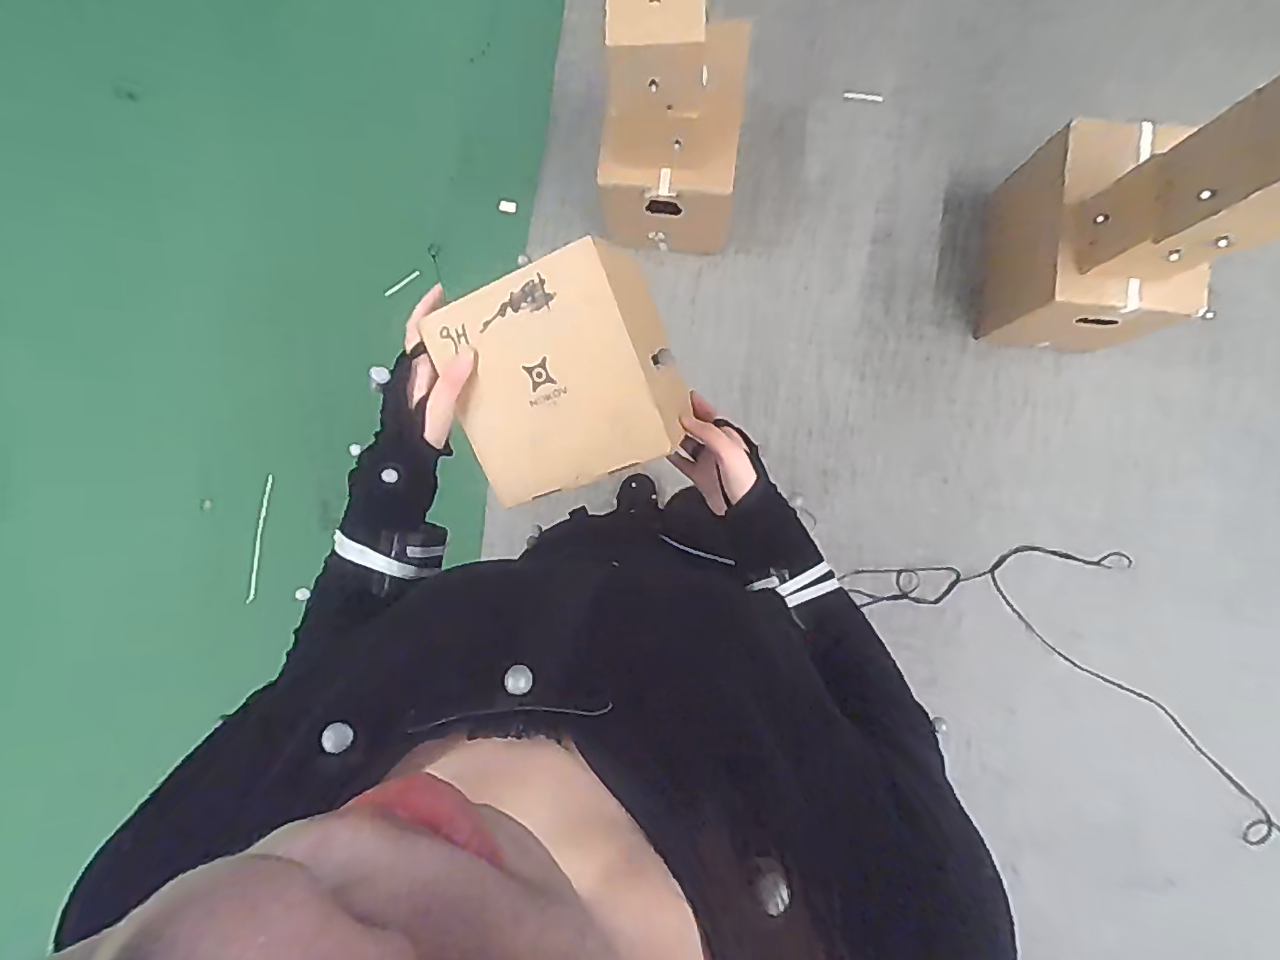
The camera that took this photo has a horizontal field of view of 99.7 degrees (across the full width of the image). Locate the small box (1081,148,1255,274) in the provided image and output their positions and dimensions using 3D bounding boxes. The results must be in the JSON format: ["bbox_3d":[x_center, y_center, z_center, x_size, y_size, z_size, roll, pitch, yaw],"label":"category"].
[{"bbox_3d":[1.031,-0.520,1.068,0.179,0.176,0.168,5,90,4],"label":"small box"}]

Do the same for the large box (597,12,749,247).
[{"bbox_3d":[0.084,-0.857,1.366,0.320,0.320,0.408,7,89,3],"label":"large box"}]

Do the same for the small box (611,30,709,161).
[{"bbox_3d":[0.044,-0.793,1.122,0.179,0.176,0.168,6,89,5],"label":"small box"}]

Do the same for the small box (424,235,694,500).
[{"bbox_3d":[-0.057,-0.107,0.511,0.168,0.176,0.179,-18,104,17],"label":"small box"}]

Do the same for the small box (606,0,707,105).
[{"bbox_3d":[0.034,-0.802,0.958,0.168,0.176,0.179,2,88,3],"label":"small box"}]

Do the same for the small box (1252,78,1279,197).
[{"bbox_3d":[1.014,-0.509,0.739,0.168,0.176,0.179,8,92,4],"label":"small box"}]
